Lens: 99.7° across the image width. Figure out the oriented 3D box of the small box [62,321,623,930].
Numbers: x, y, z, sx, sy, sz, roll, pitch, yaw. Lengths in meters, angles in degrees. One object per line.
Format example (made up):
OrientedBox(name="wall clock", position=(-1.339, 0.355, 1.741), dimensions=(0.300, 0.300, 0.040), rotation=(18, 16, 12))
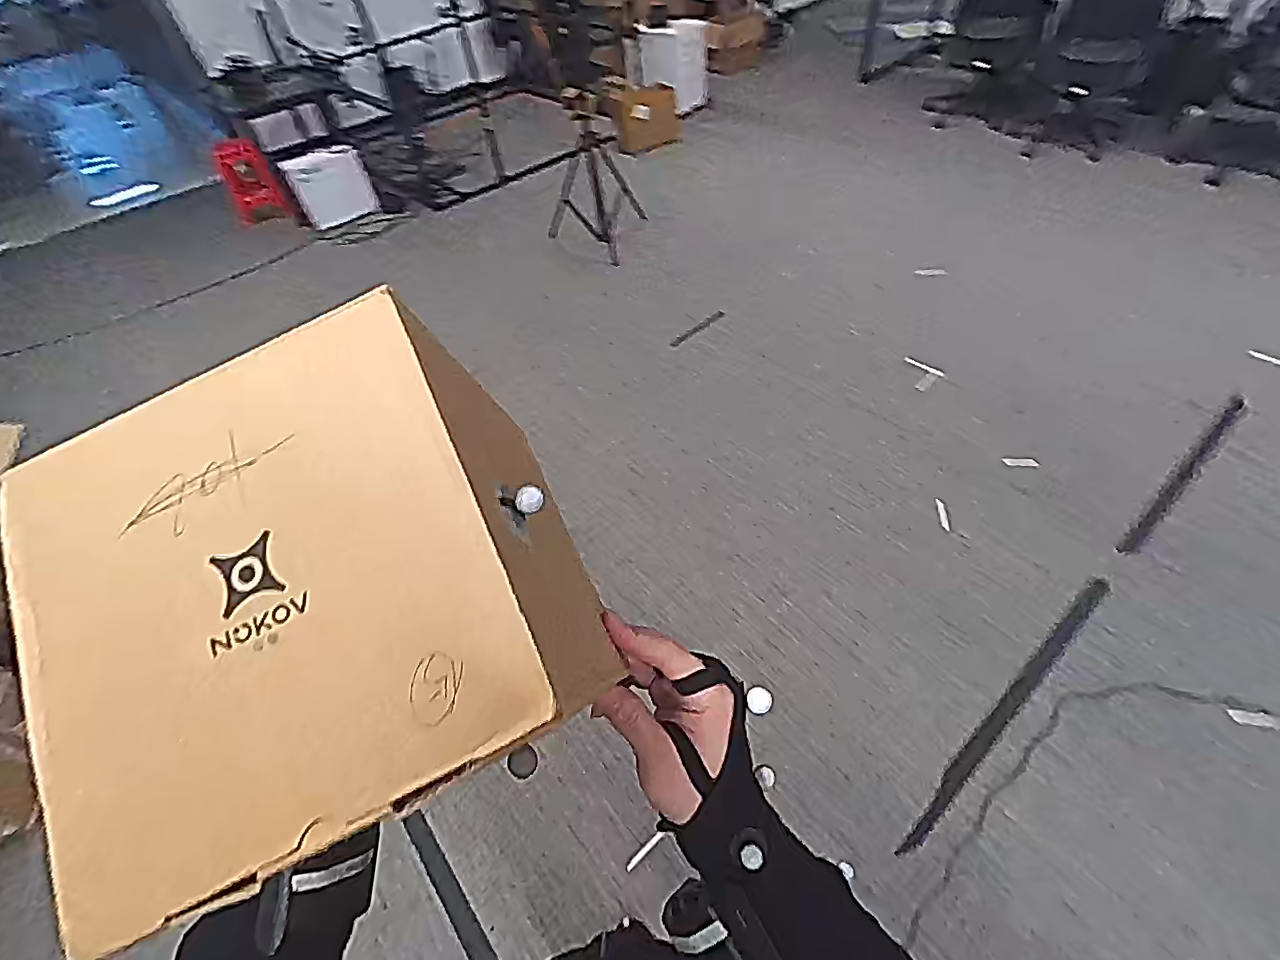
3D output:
OrientedBox(name="small box", position=(-0.121, 0.061, 0.278), dimensions=(0.168, 0.176, 0.179), rotation=(-26, 73, -2))
